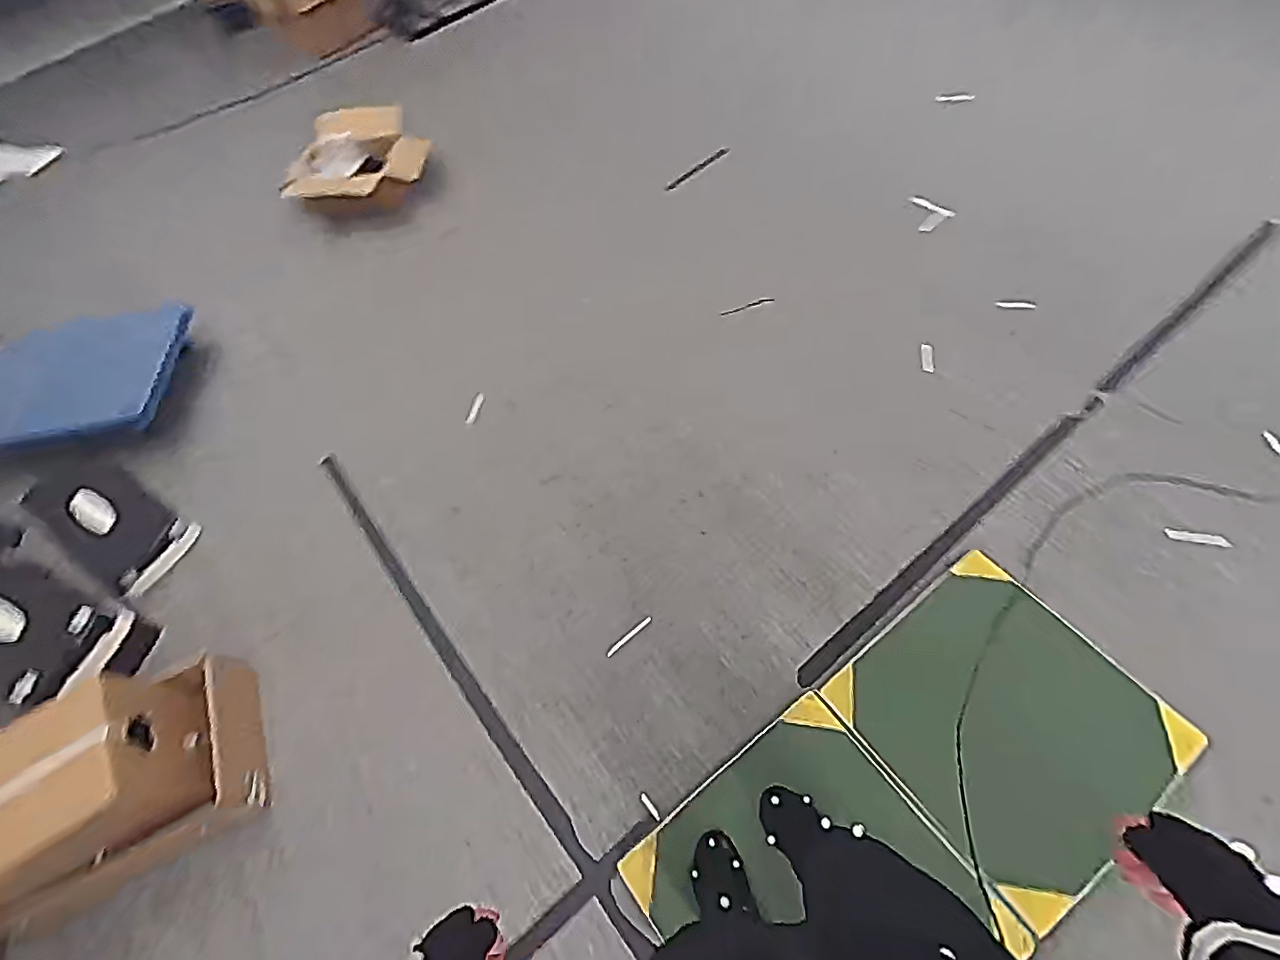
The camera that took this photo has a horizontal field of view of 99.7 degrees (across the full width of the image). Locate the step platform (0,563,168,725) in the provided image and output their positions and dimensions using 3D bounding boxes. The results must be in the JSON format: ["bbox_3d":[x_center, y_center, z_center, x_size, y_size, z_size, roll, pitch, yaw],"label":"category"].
[{"bbox_3d":[-1.823,0.484,1.646,0.684,0.204,0.286,16,64,16],"label":"step platform"}]
